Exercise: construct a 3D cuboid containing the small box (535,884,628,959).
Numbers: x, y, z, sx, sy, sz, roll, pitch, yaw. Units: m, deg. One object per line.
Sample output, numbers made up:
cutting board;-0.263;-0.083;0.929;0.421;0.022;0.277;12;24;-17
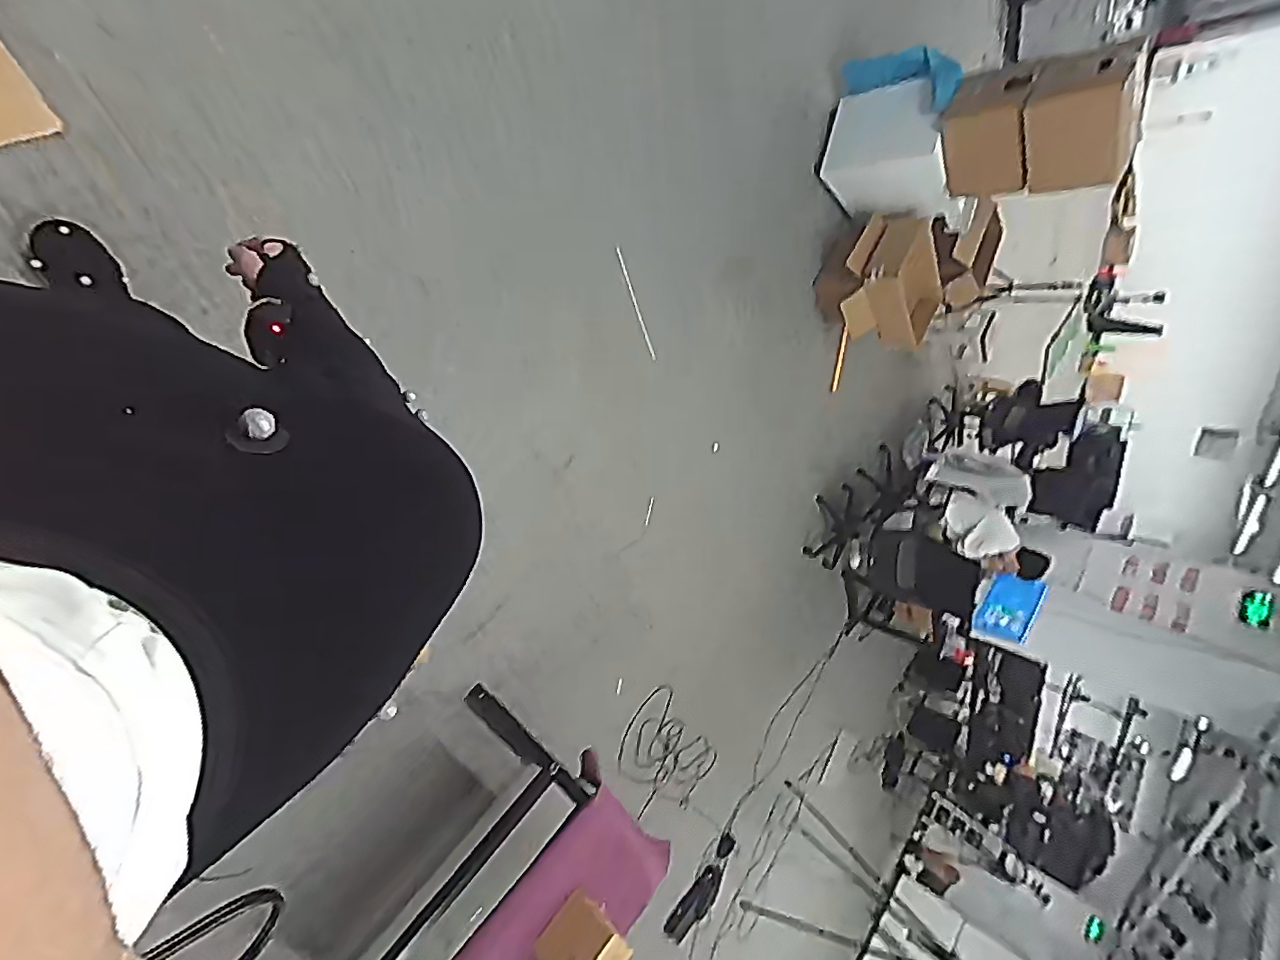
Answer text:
small box;-0.168;1.290;1.506;0.179;0.176;0.168;-41;129;-27
